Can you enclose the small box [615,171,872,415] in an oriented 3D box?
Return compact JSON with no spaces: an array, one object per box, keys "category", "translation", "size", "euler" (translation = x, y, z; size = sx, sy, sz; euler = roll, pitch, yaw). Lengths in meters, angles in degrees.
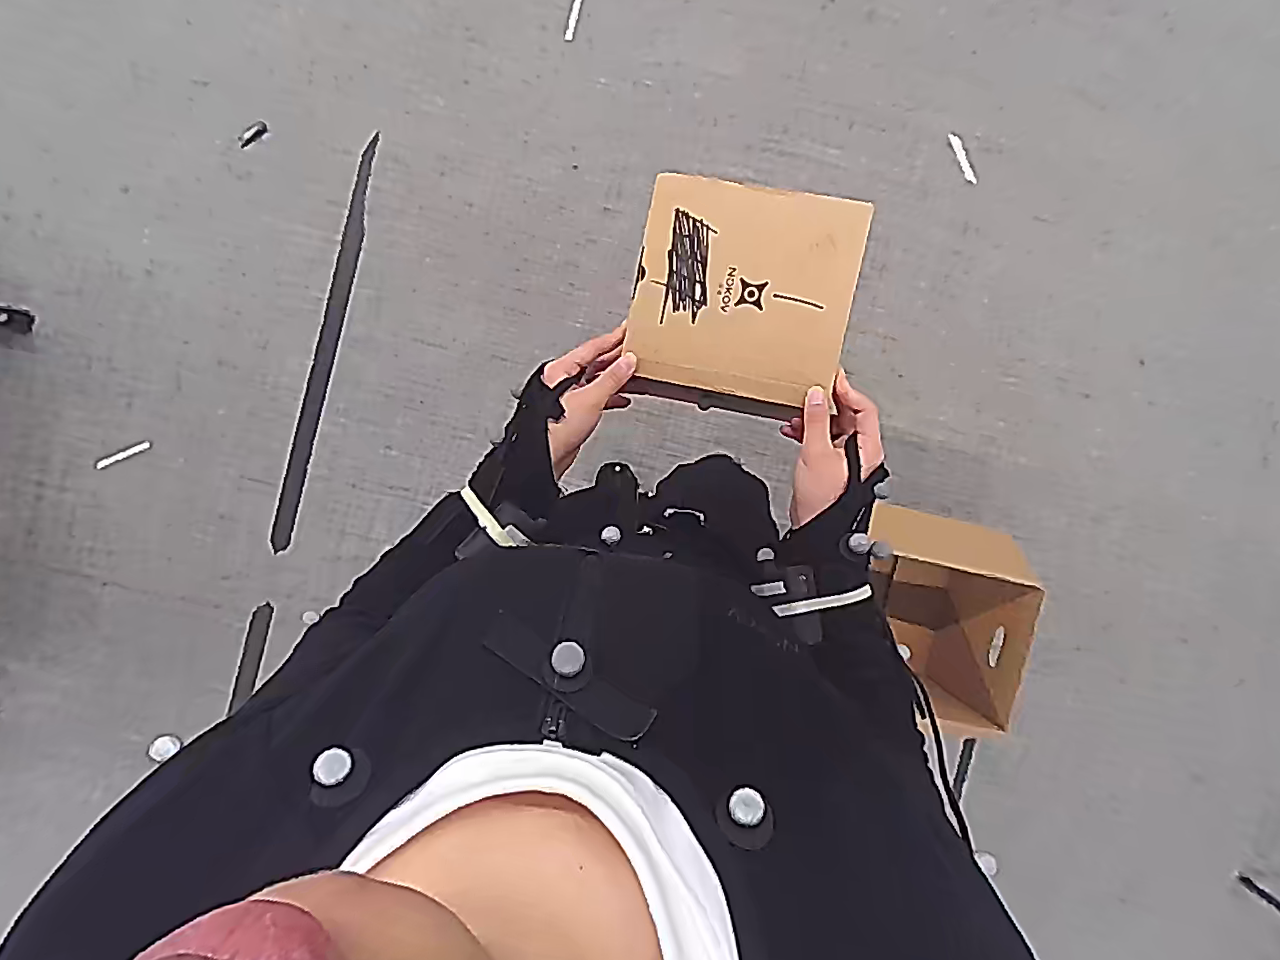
[{"category":"small box","translation":[0.090,-0.157,0.509],"size":[0.179,0.176,0.168],"euler":[12,95,7]}]
